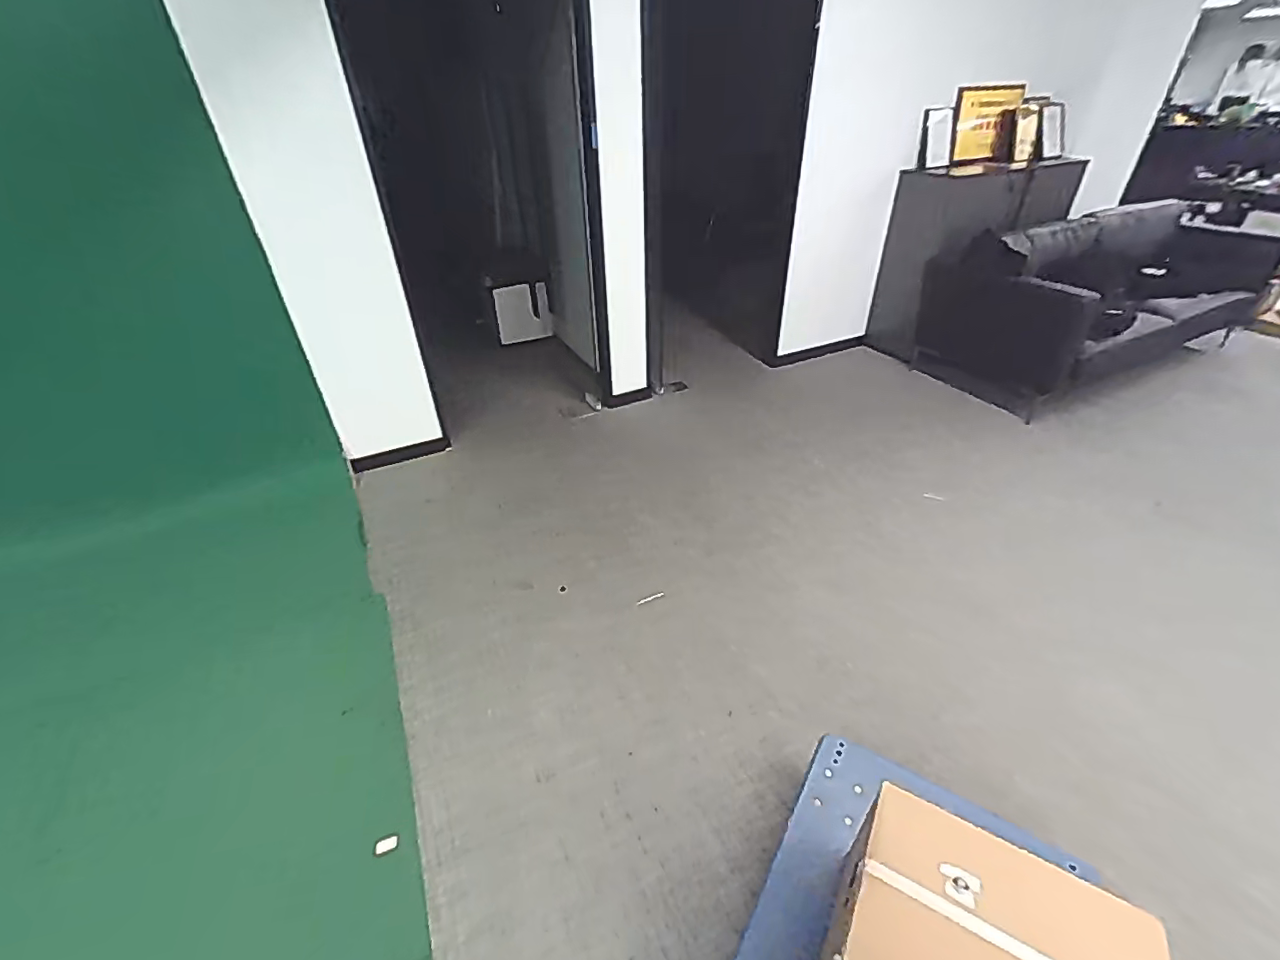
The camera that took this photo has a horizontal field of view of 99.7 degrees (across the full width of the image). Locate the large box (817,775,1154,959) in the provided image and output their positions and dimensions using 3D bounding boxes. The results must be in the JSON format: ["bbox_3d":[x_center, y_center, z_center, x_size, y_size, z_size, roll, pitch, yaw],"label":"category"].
[{"bbox_3d":[0.544,0.796,0.904,0.408,0.320,0.320,17,41,26],"label":"large box"}]
